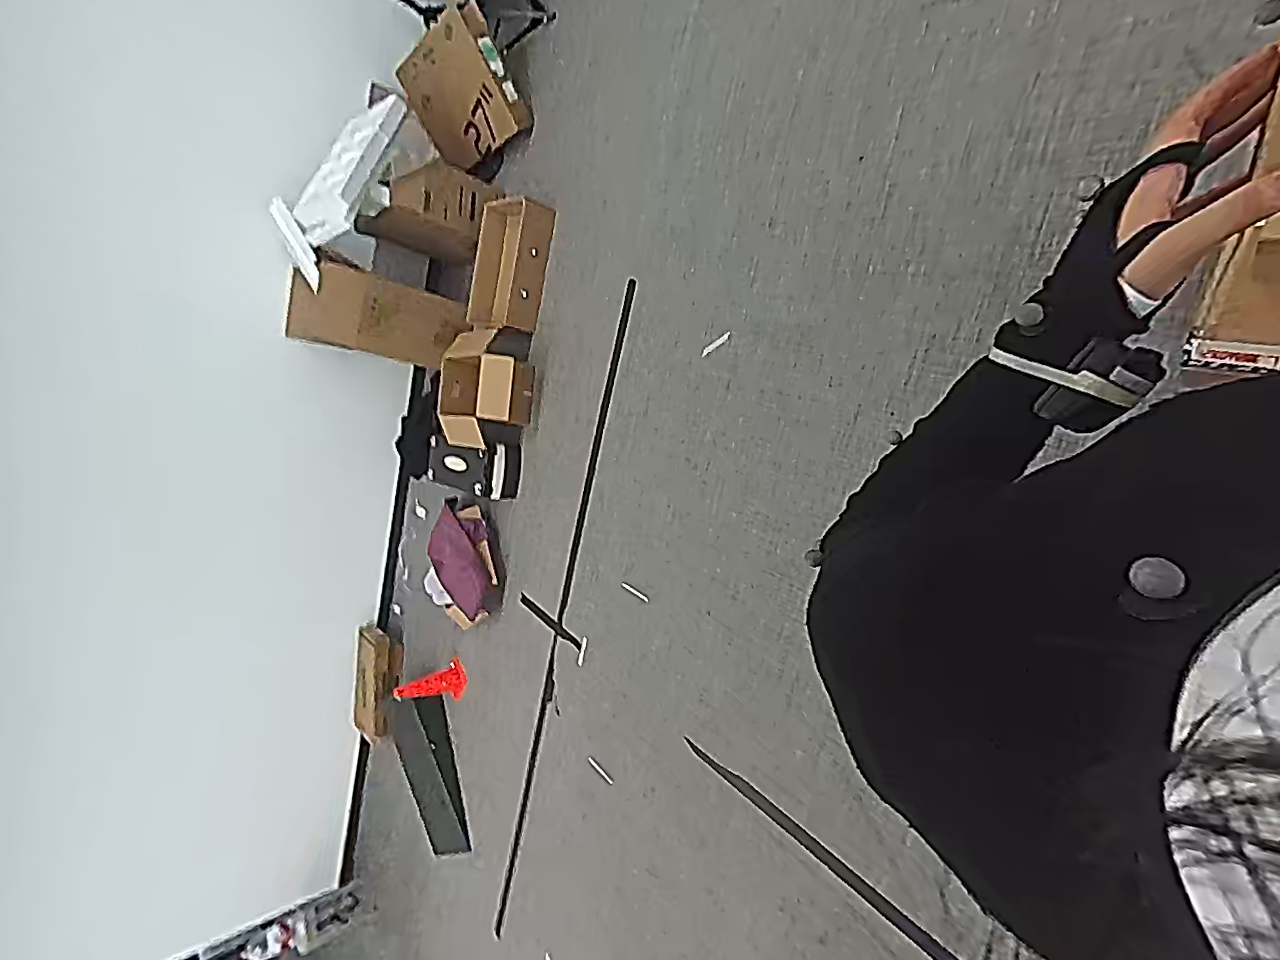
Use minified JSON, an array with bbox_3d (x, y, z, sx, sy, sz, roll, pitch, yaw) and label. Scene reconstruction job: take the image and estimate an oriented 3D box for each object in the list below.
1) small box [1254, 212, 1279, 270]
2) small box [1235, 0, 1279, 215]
[{"bbox_3d":[0.813,-0.322,0.575,0.168,0.176,0.179,28,110,44],"label":"small box"},{"bbox_3d":[0.432,-0.240,0.264,0.168,0.176,0.179,13,116,42],"label":"small box"}]
